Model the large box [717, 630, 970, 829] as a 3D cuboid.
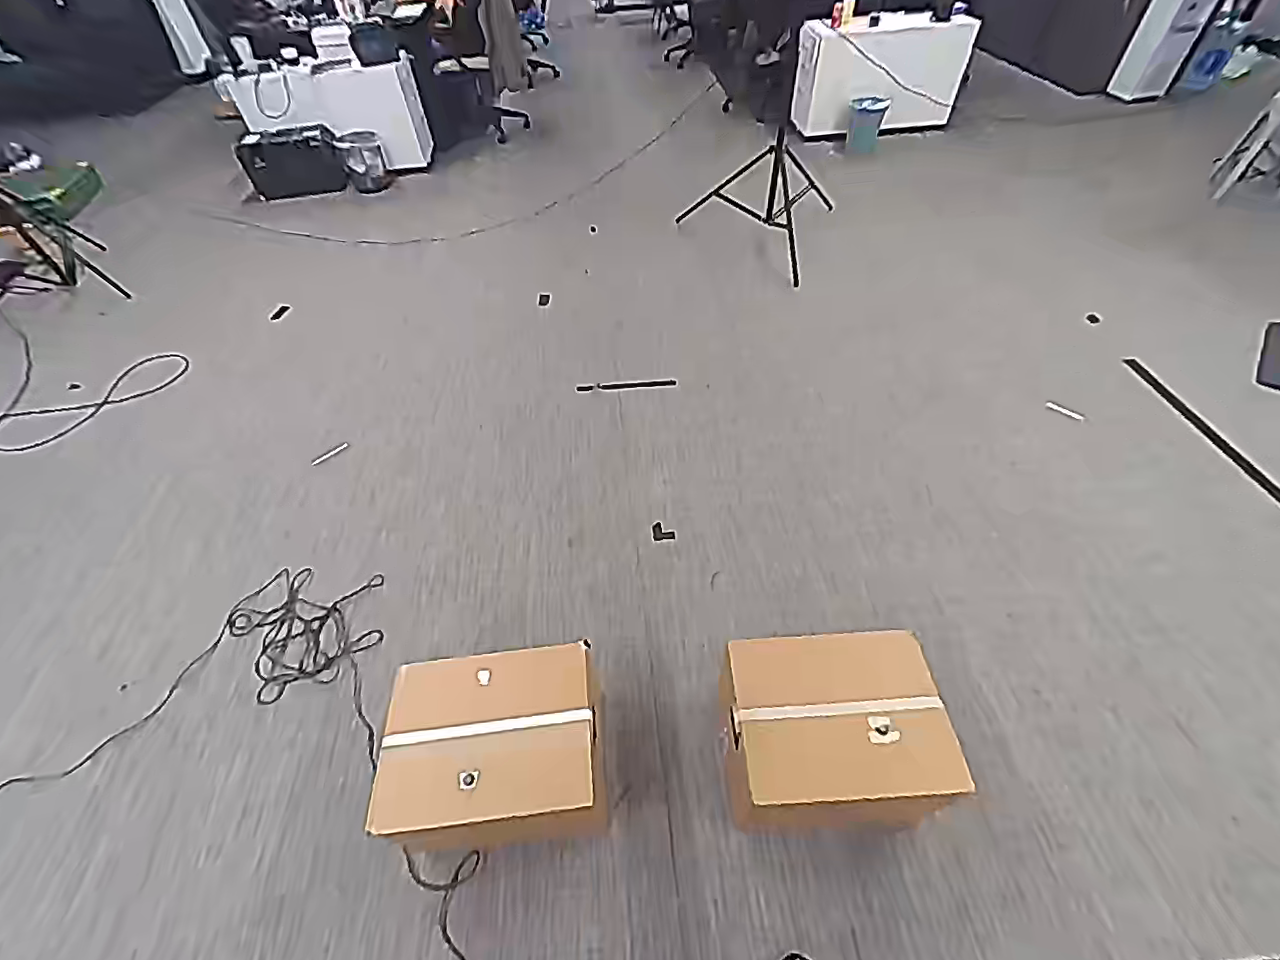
[{"bbox_3d":[0.400,0.551,1.188,0.408,0.320,0.320,-3,50,0],"label":"large box"}]
